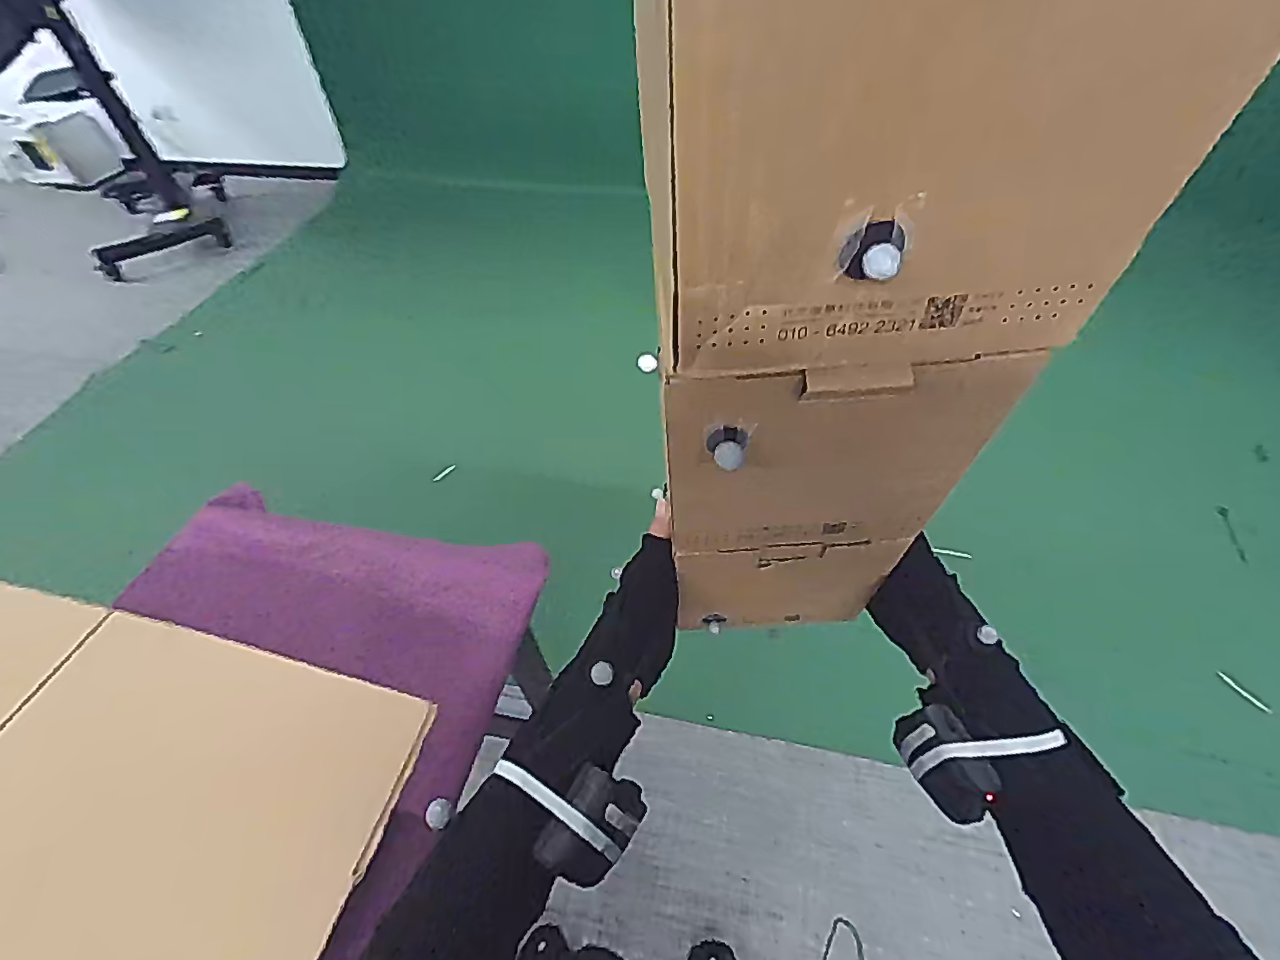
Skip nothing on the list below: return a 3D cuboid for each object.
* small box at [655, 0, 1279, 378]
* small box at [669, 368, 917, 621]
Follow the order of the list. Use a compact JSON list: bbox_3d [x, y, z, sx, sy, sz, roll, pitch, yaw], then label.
[{"bbox_3d":[0.091,-0.164,0.213,0.168,0.176,0.179,-5,56,2],"label":"small box"},{"bbox_3d":[0.114,0.020,0.483,0.168,0.176,0.179,-4,56,3],"label":"small box"}]
